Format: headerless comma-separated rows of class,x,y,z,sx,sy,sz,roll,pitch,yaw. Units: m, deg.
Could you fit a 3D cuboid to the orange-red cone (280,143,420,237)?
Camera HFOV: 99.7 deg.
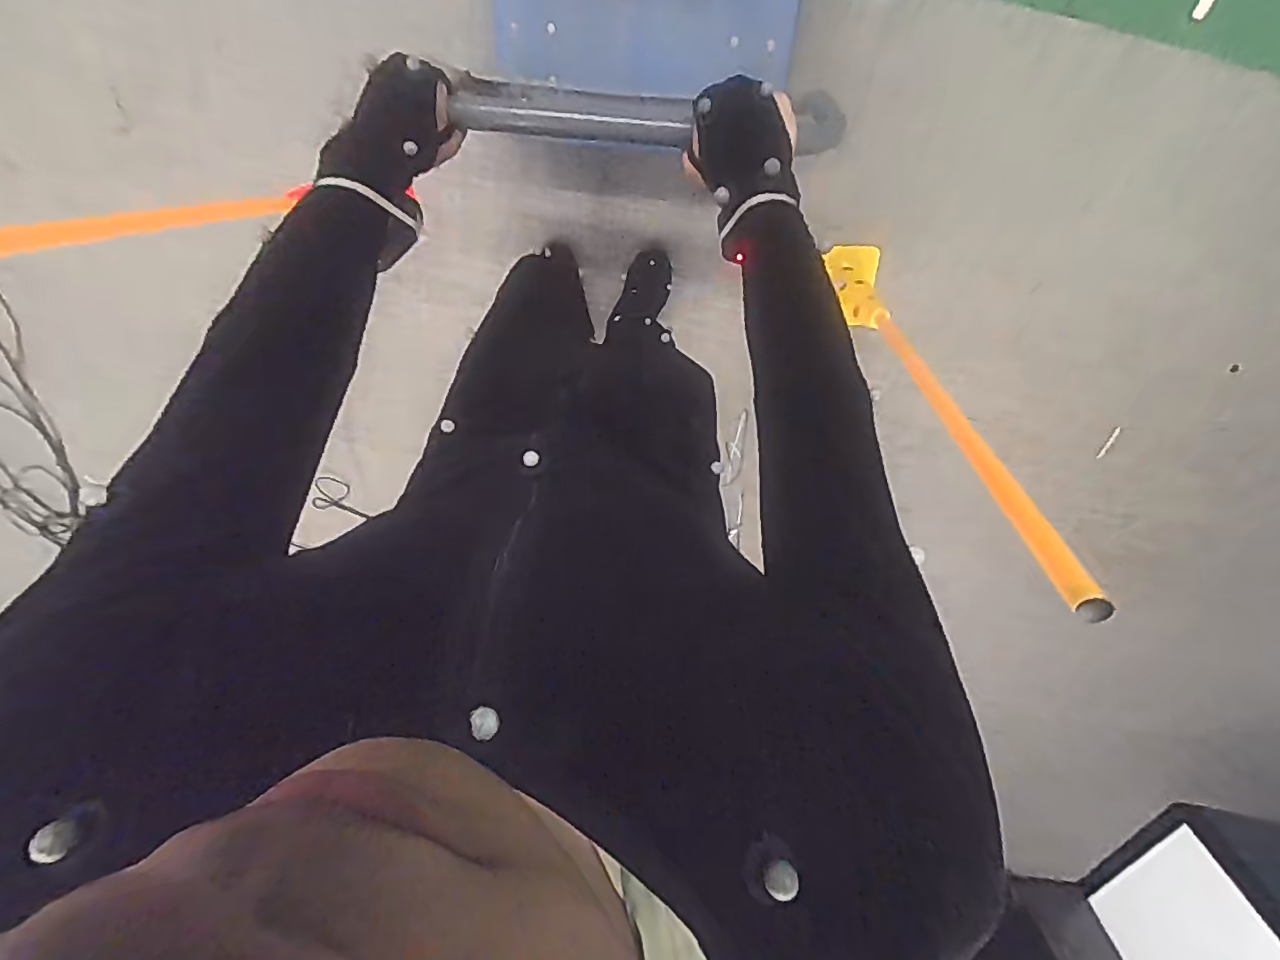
orange-red cone,-0.663,-0.624,1.183,0.199,0.360,0.198,-2,120,5
